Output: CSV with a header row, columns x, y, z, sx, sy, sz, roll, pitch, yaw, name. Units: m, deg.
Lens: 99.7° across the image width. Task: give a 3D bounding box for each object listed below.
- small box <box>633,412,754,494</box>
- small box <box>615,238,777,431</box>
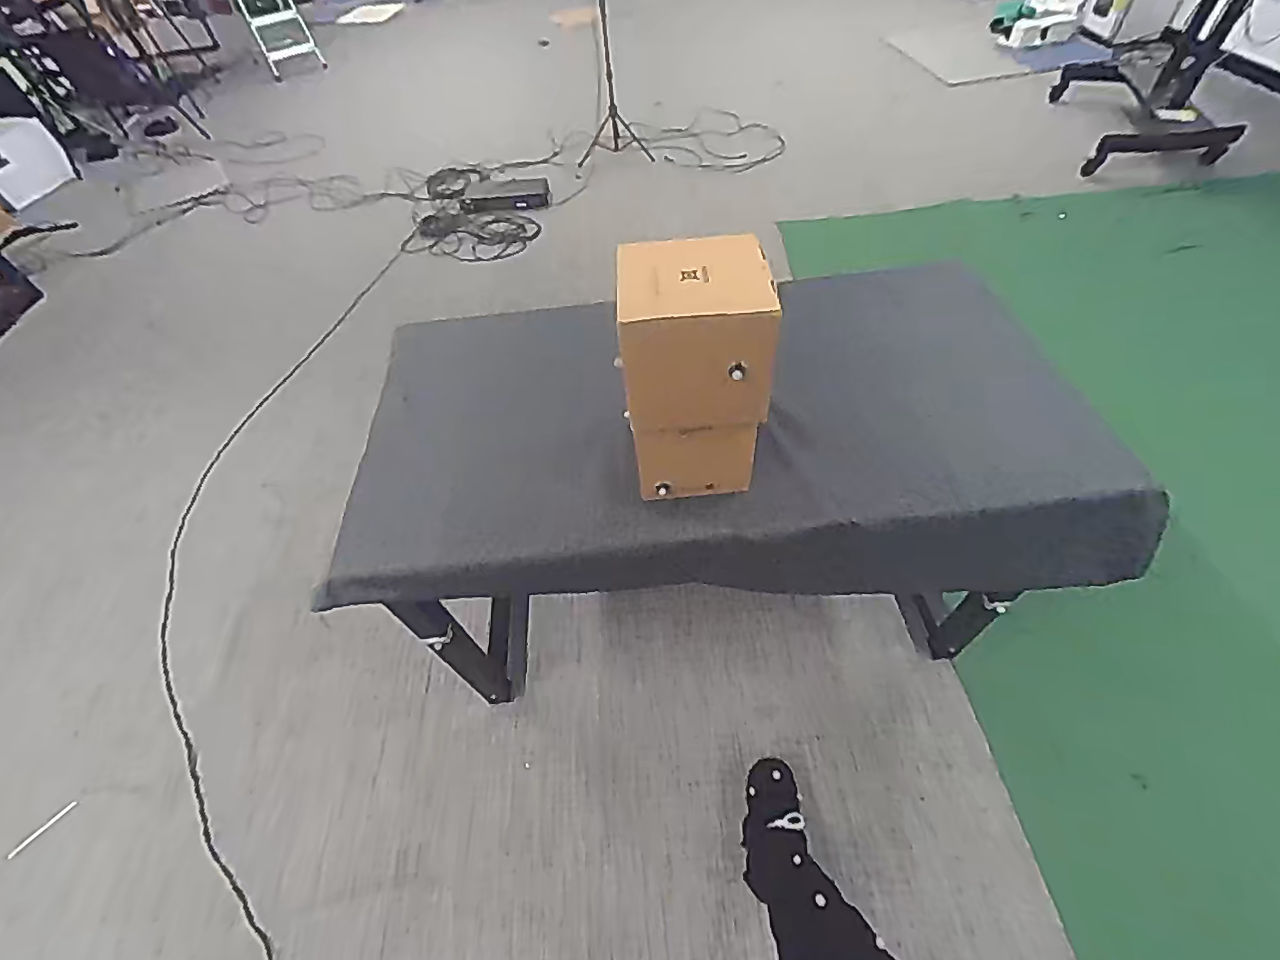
x,y,z,sx,sy,sz,roll,pitch,yaw,name
0.071,-0.092,0.825,0.168,0.176,0.179,-8,53,0,small box
0.065,-0.180,0.688,0.179,0.176,0.168,-5,50,3,small box
